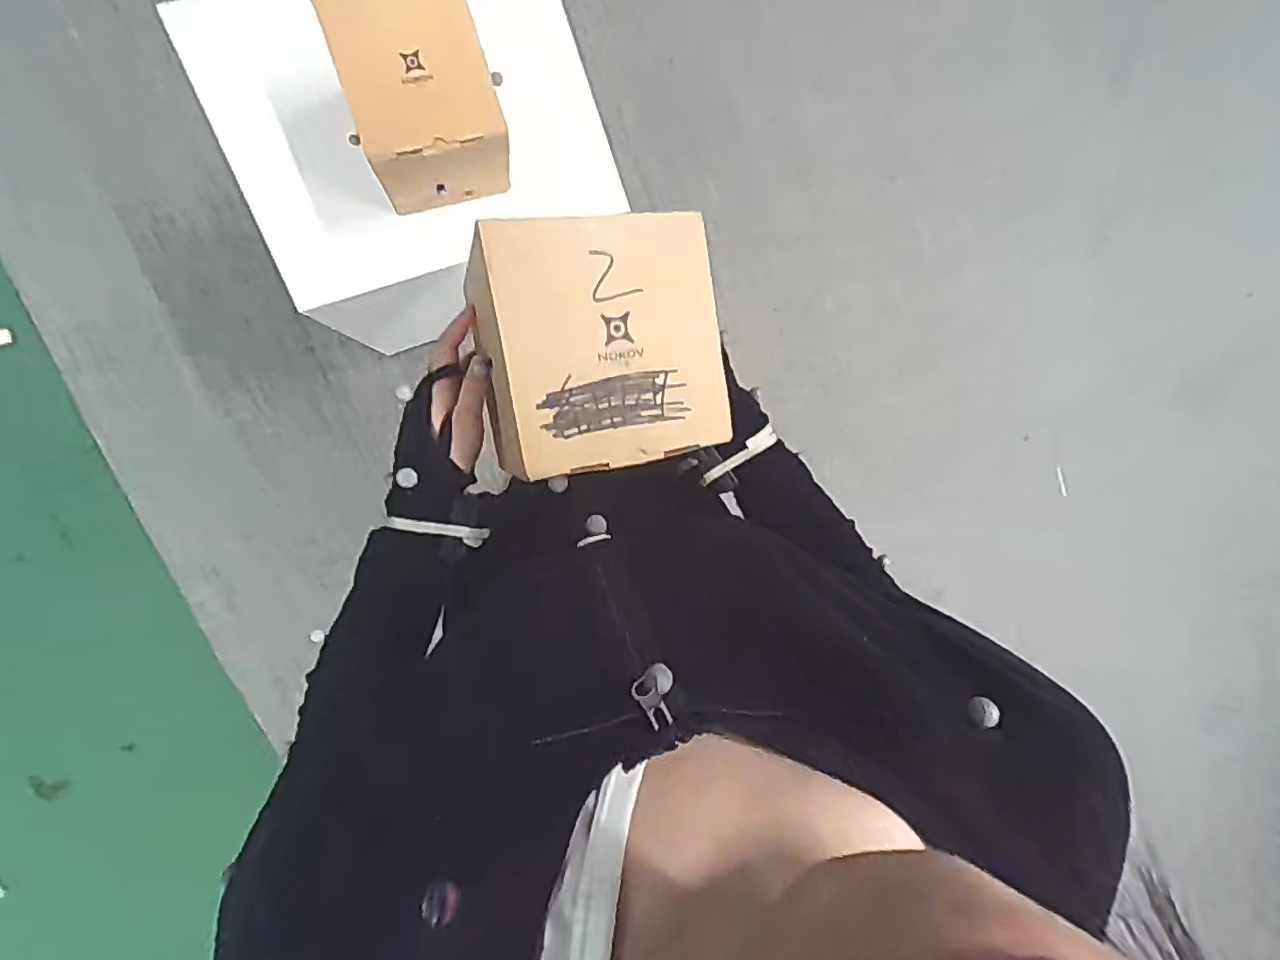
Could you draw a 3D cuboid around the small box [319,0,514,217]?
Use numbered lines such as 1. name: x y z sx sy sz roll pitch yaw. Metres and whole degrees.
1. small box: -0.268 -0.468 0.688 0.168 0.176 0.179 -19 100 -10
